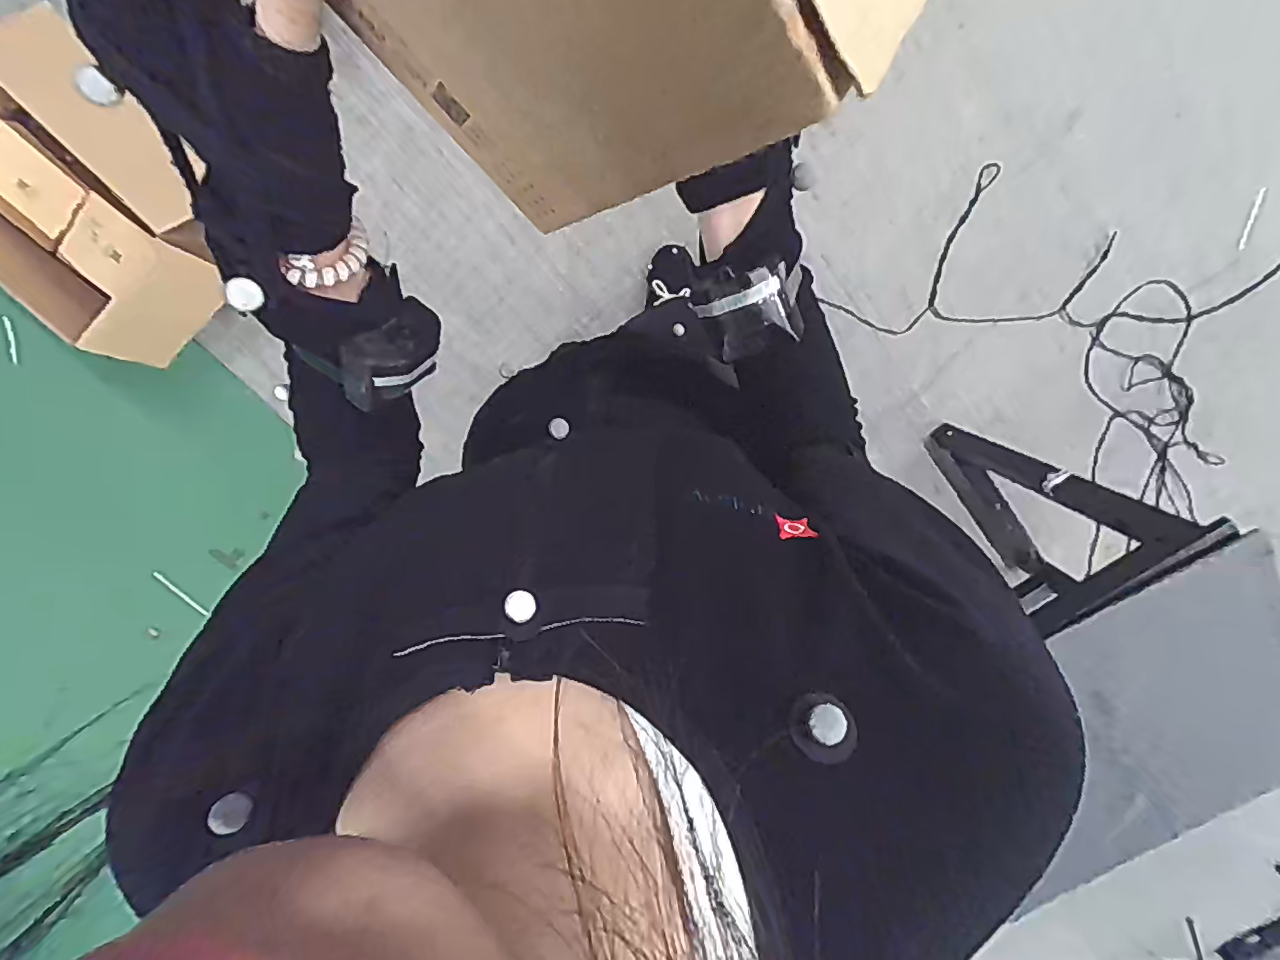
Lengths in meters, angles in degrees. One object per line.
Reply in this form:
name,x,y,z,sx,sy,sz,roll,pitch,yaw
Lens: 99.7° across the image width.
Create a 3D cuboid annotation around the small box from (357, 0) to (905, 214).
small box,-0.005,-0.220,0.170,0.168,0.176,0.179,39,76,-35
